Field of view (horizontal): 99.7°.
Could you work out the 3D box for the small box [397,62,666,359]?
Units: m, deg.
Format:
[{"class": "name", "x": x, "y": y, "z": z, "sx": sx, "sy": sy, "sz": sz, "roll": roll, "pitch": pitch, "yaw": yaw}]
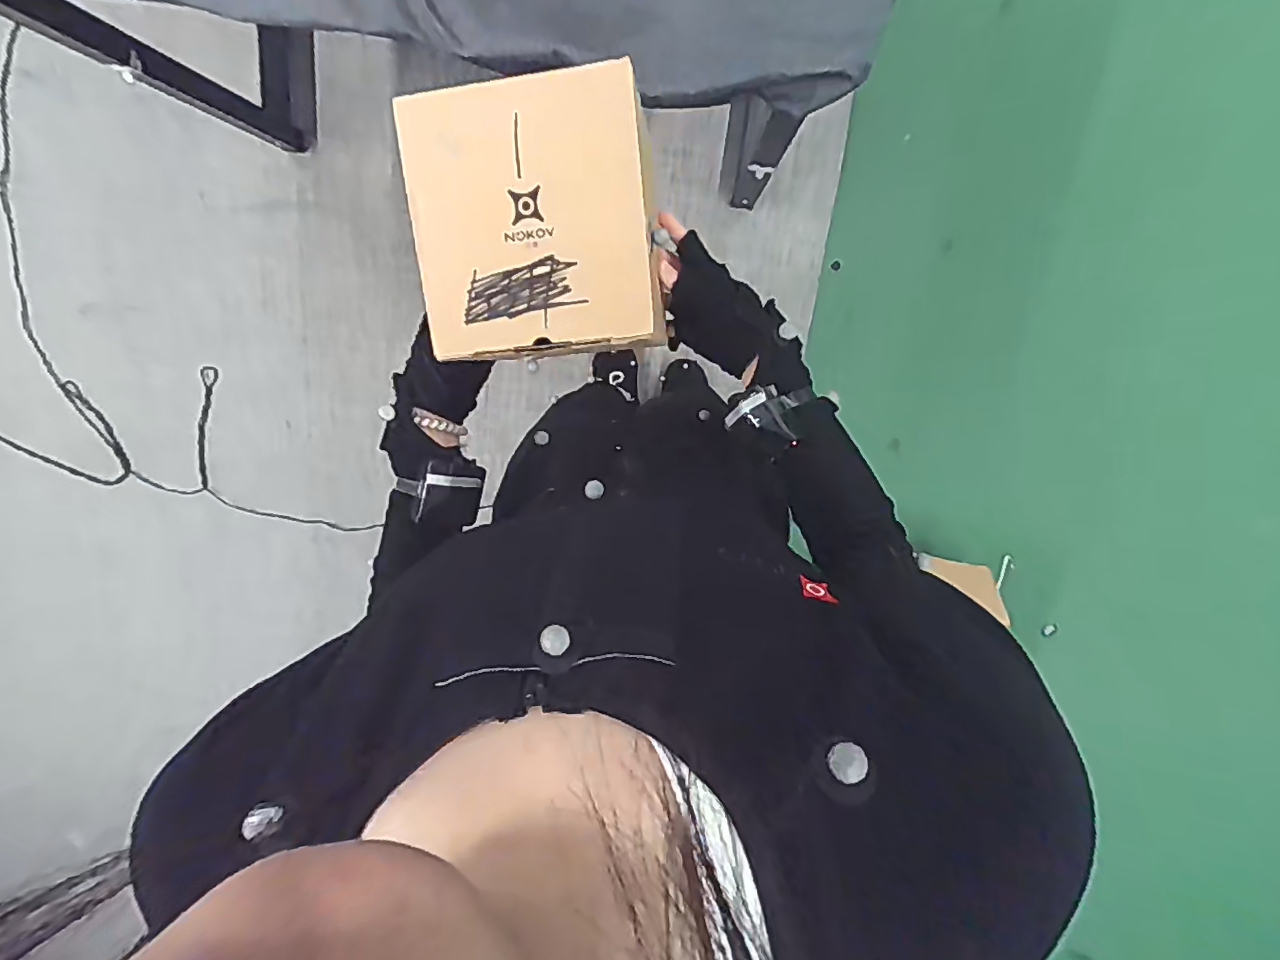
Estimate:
[{"class": "small box", "x": -0.069, "y": -0.196, "z": 0.450, "sx": 0.168, "sy": 0.176, "sz": 0.179, "roll": -4, "pitch": 102, "yaw": 6}]
